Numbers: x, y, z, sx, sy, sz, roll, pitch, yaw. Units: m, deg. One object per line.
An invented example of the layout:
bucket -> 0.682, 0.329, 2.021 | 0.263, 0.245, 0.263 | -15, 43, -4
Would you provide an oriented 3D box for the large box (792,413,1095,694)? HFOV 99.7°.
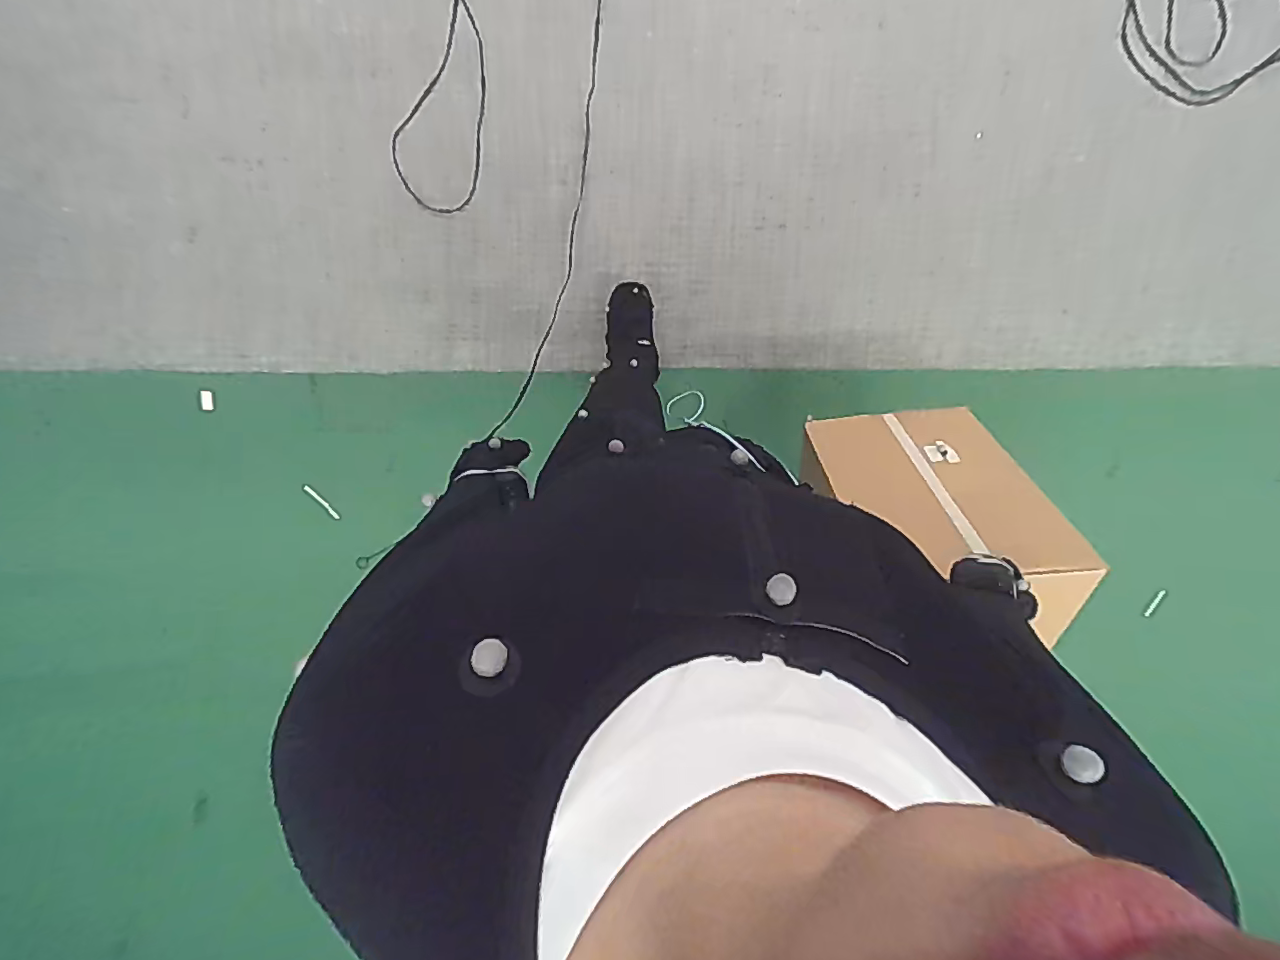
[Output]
large box -> 0.490, 0.123, 0.995 | 0.320, 0.408, 0.320 | -4, 129, 2
